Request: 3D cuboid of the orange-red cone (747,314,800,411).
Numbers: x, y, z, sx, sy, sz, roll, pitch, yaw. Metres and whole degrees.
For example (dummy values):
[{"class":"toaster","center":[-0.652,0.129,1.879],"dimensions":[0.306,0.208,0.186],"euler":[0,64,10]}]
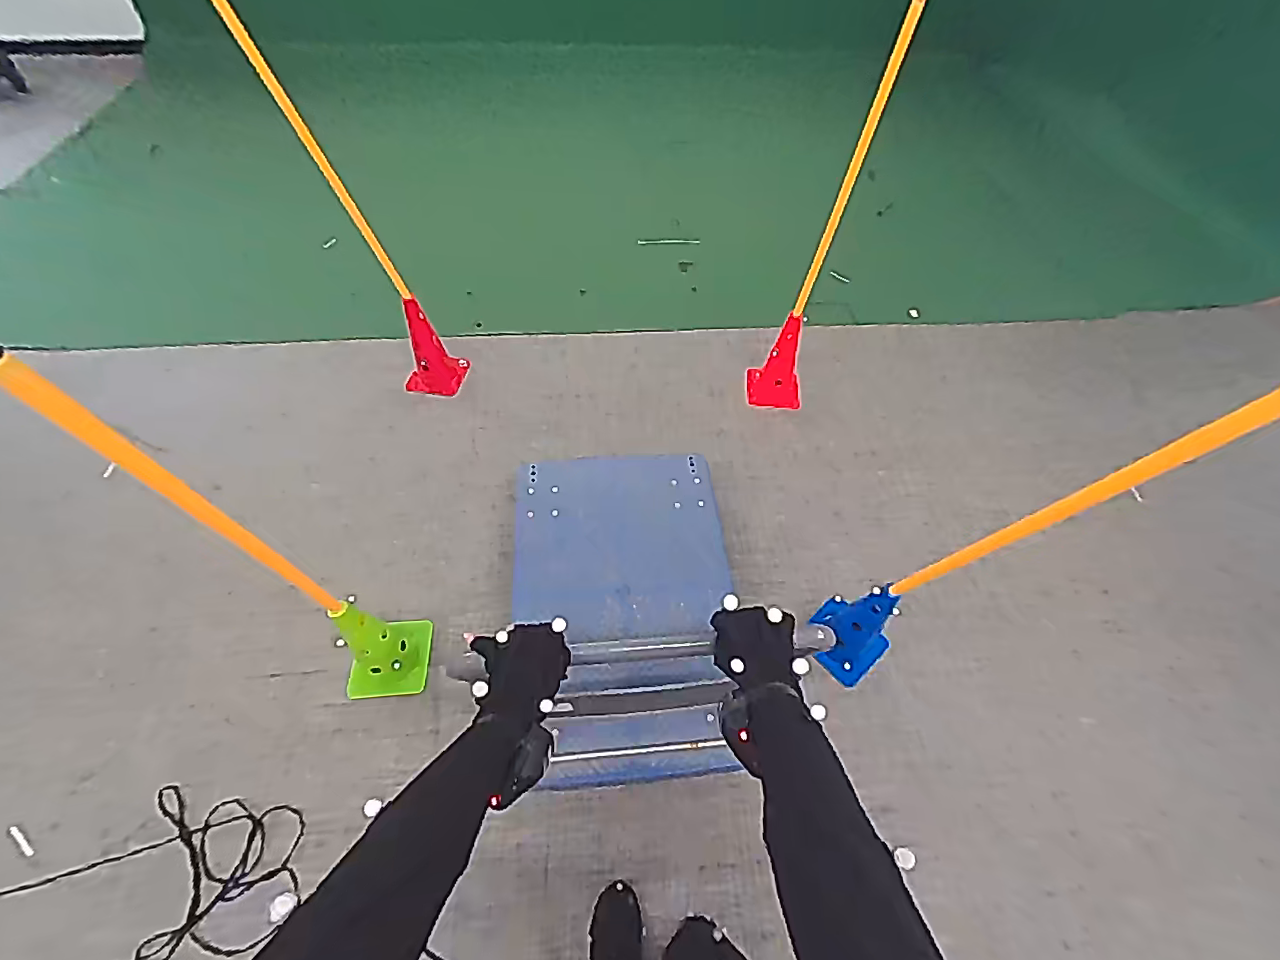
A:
[{"class":"orange-red cone","center":[0.515,-0.443,1.950],"dimensions":[0.198,0.360,0.199],"euler":[6,56,3]}]
